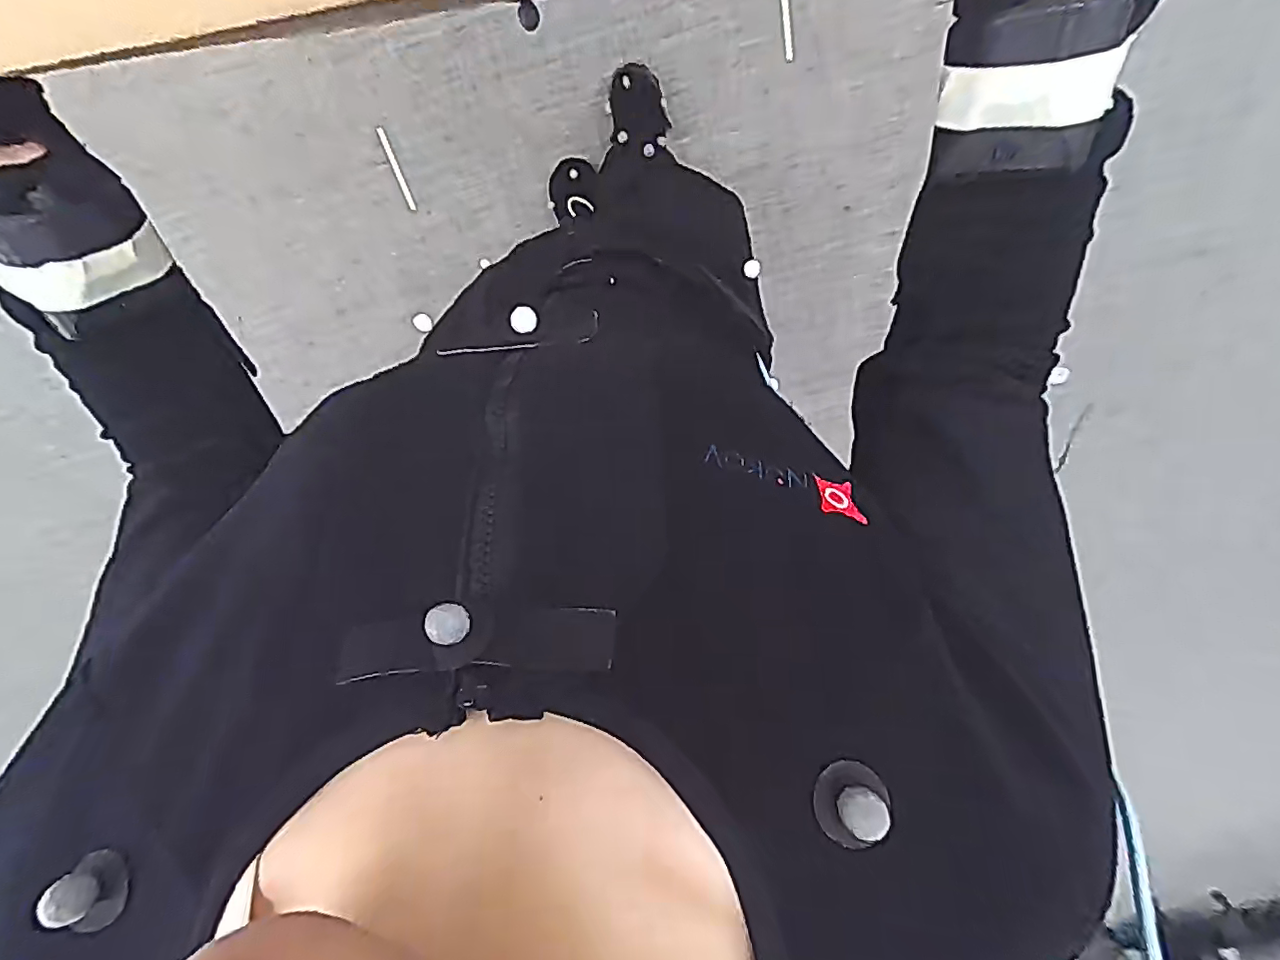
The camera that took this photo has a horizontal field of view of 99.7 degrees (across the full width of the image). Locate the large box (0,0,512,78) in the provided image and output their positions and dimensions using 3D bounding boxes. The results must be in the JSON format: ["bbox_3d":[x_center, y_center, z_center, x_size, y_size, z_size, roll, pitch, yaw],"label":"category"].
[{"bbox_3d":[-0.090,-0.393,0.206,0.408,0.320,0.320,-8,132,3],"label":"large box"}]
